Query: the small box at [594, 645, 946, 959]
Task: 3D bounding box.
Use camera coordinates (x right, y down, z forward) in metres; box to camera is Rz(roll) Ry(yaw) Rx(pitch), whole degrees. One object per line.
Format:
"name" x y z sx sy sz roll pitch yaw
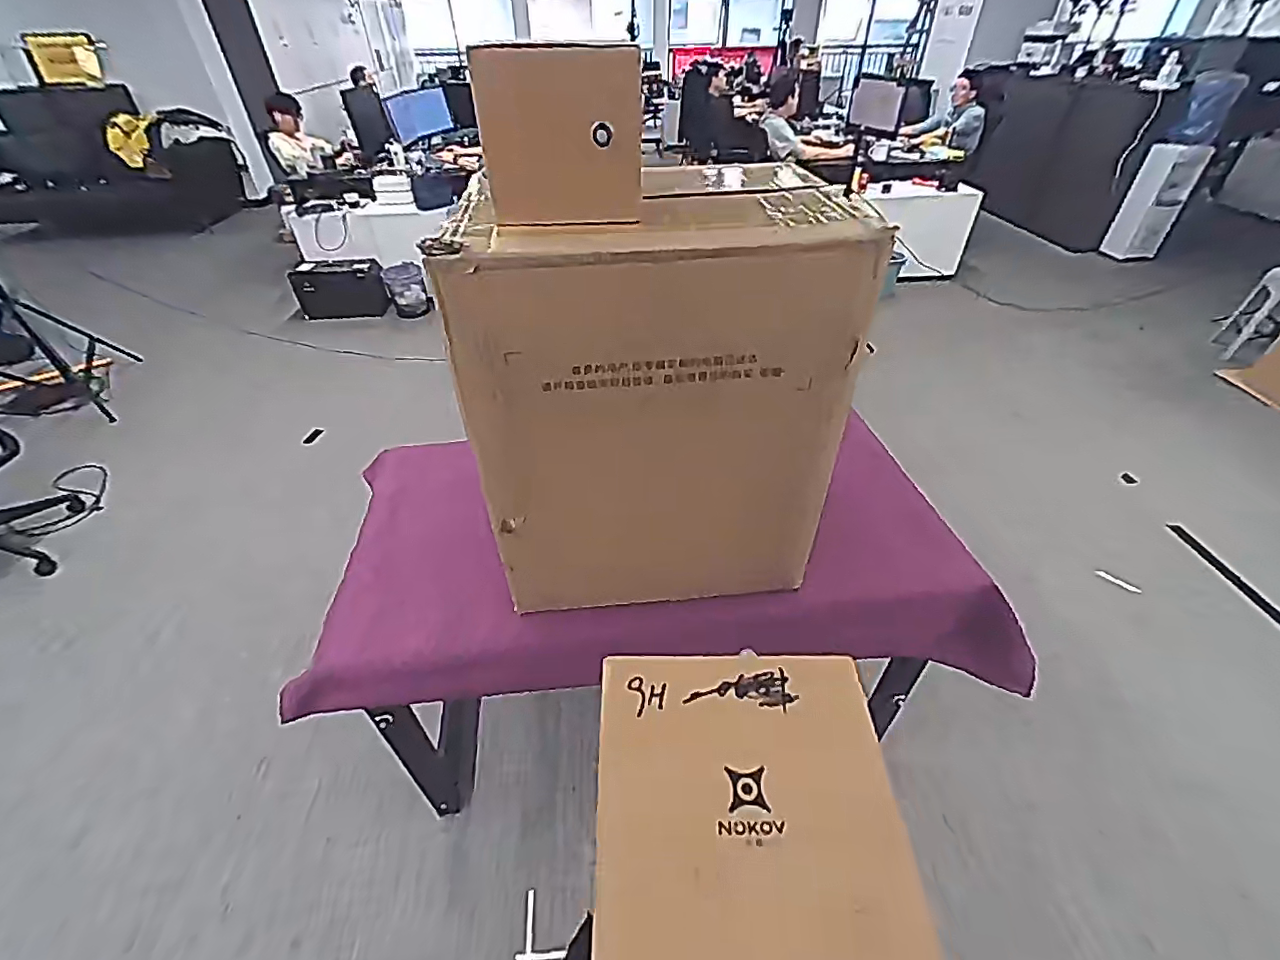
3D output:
"small box" 0.060 0.226 0.353 0.168 0.176 0.179 0 48 -1

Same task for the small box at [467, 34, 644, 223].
"small box" -0.090 -0.418 0.643 0.179 0.176 0.168 -5 40 -4
